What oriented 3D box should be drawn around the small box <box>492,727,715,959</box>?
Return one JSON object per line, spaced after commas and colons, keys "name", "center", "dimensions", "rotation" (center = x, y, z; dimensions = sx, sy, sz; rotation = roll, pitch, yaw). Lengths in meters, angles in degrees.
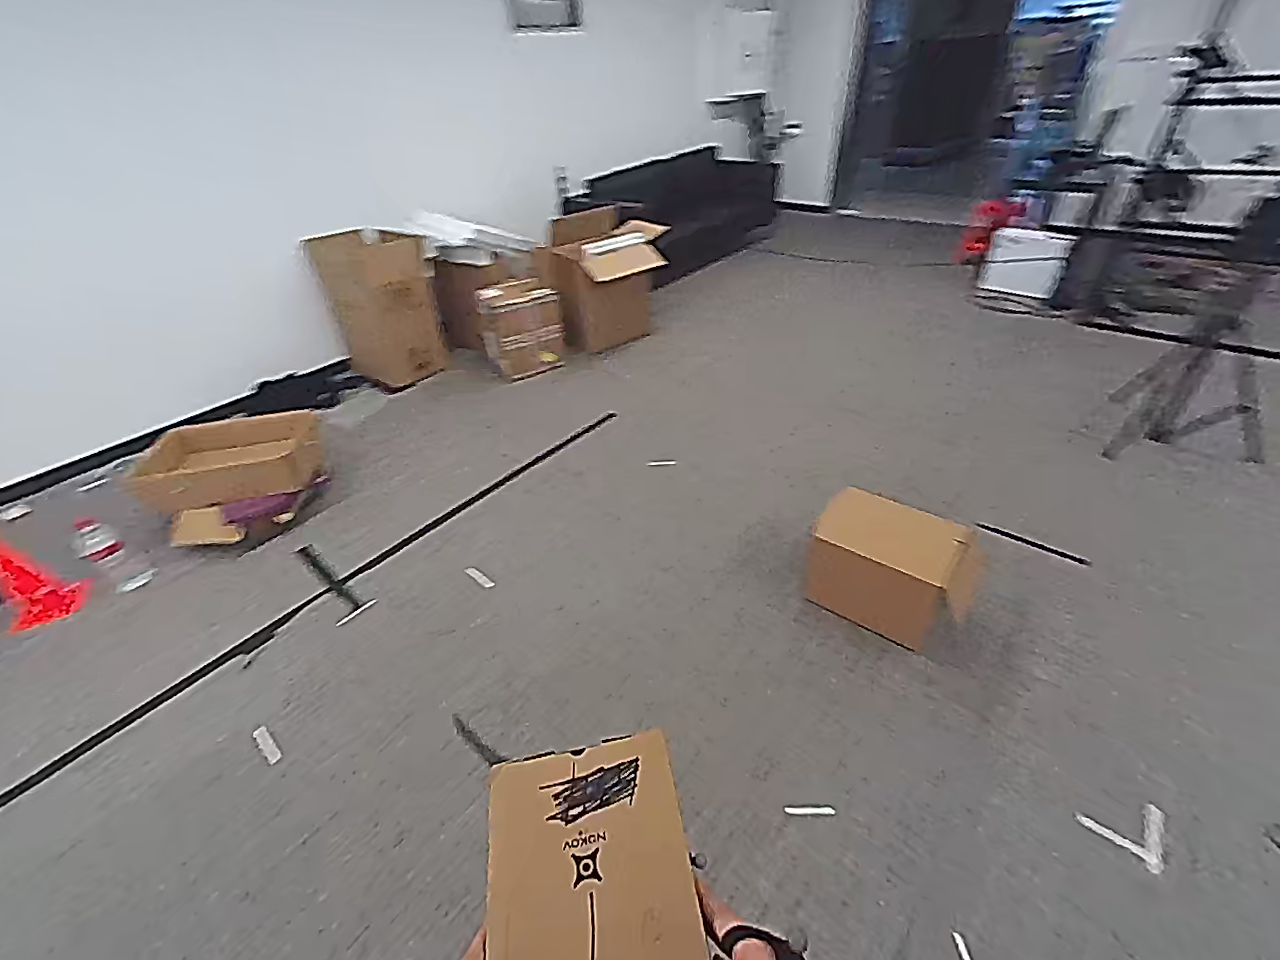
{"name": "small box", "center": [-0.031, 0.364, 0.503], "dimensions": [0.168, 0.176, 0.179], "rotation": [-11, 43, -3]}
